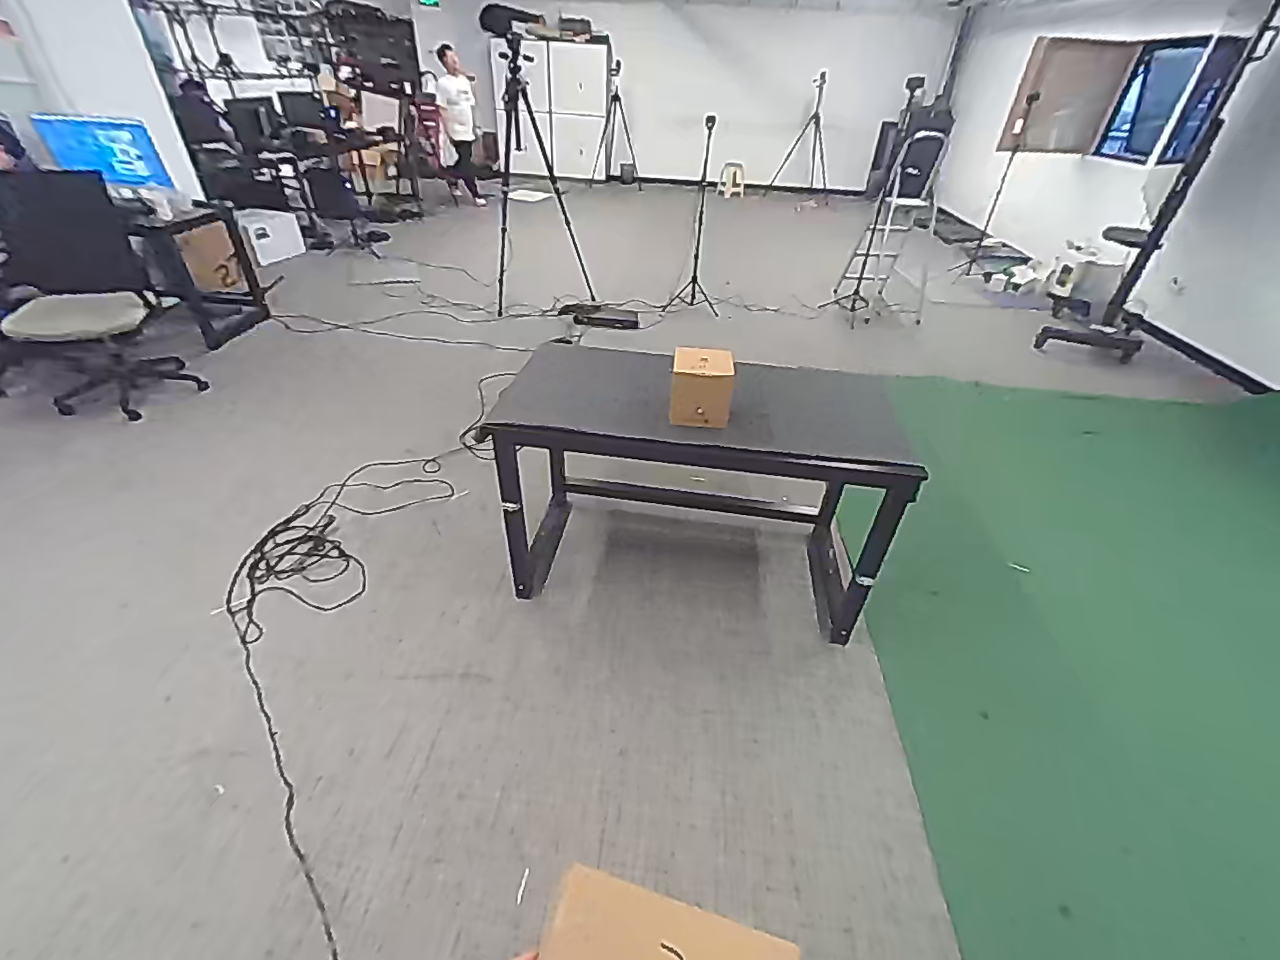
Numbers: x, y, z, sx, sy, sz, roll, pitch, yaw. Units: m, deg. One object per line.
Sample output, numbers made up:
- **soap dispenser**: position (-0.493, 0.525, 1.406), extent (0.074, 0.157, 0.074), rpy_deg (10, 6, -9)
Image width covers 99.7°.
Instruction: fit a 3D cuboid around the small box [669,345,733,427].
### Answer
- **small box**: position (0.172, -0.274, 1.567), extent (0.168, 0.176, 0.179), rpy_deg (4, 36, 2)
